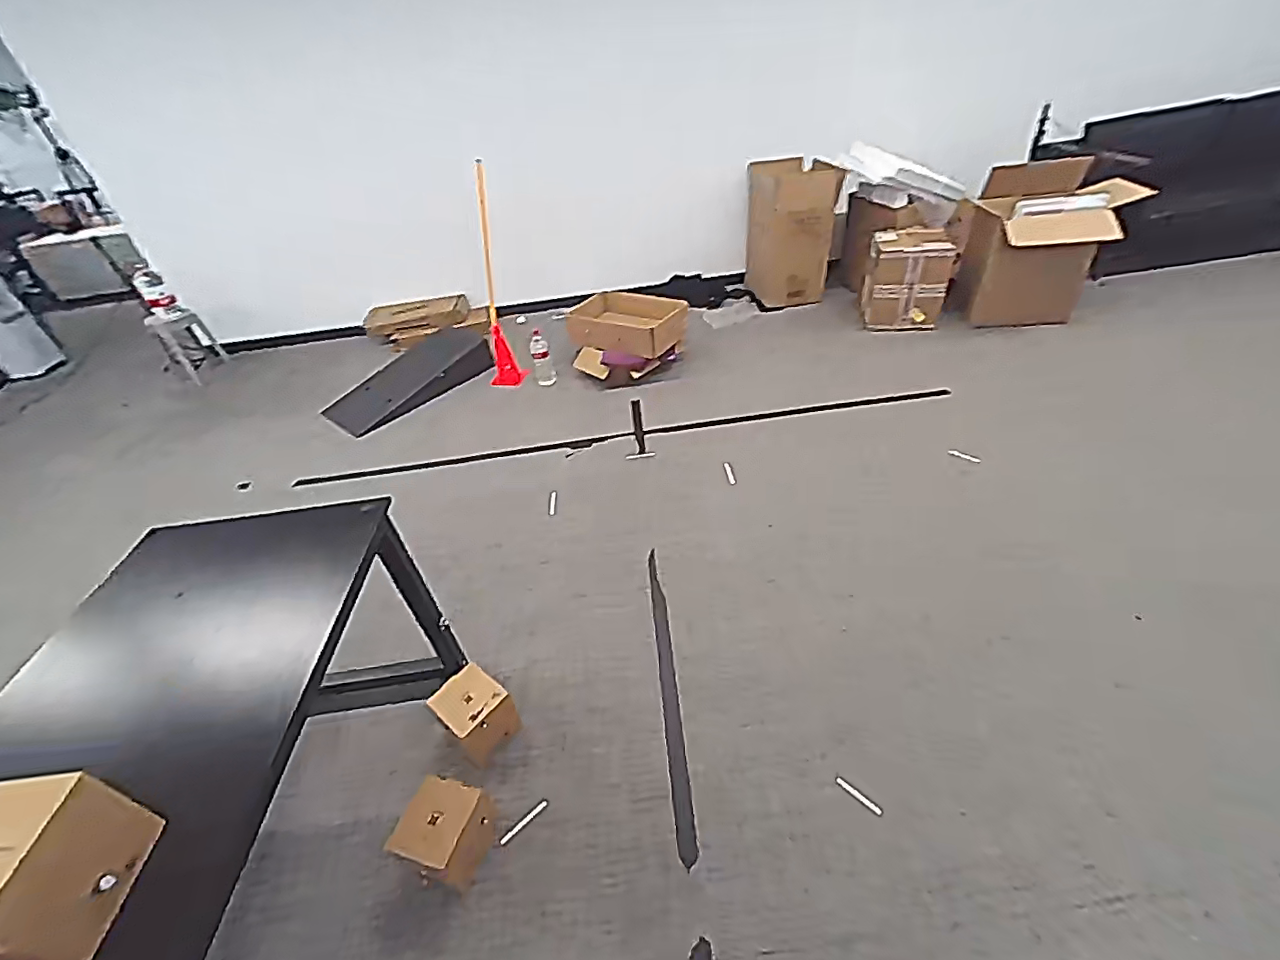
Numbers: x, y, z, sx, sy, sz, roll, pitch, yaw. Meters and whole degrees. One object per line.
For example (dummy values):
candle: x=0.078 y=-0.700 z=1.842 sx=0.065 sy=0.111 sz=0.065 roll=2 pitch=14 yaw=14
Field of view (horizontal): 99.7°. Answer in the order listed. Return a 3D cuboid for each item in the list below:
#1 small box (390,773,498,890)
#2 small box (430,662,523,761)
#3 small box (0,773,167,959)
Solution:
small box: x=-0.471 y=0.867 z=1.335 sx=0.168 sy=0.176 sz=0.179 roll=5 pitch=41 yaw=17
small box: x=-0.471 y=0.675 z=1.570 sx=0.179 sy=0.176 sz=0.168 roll=23 pitch=48 yaw=33
small box: x=-0.768 y=0.496 z=0.674 sx=0.179 sy=0.176 sz=0.168 roll=-7 pitch=39 yaw=0
